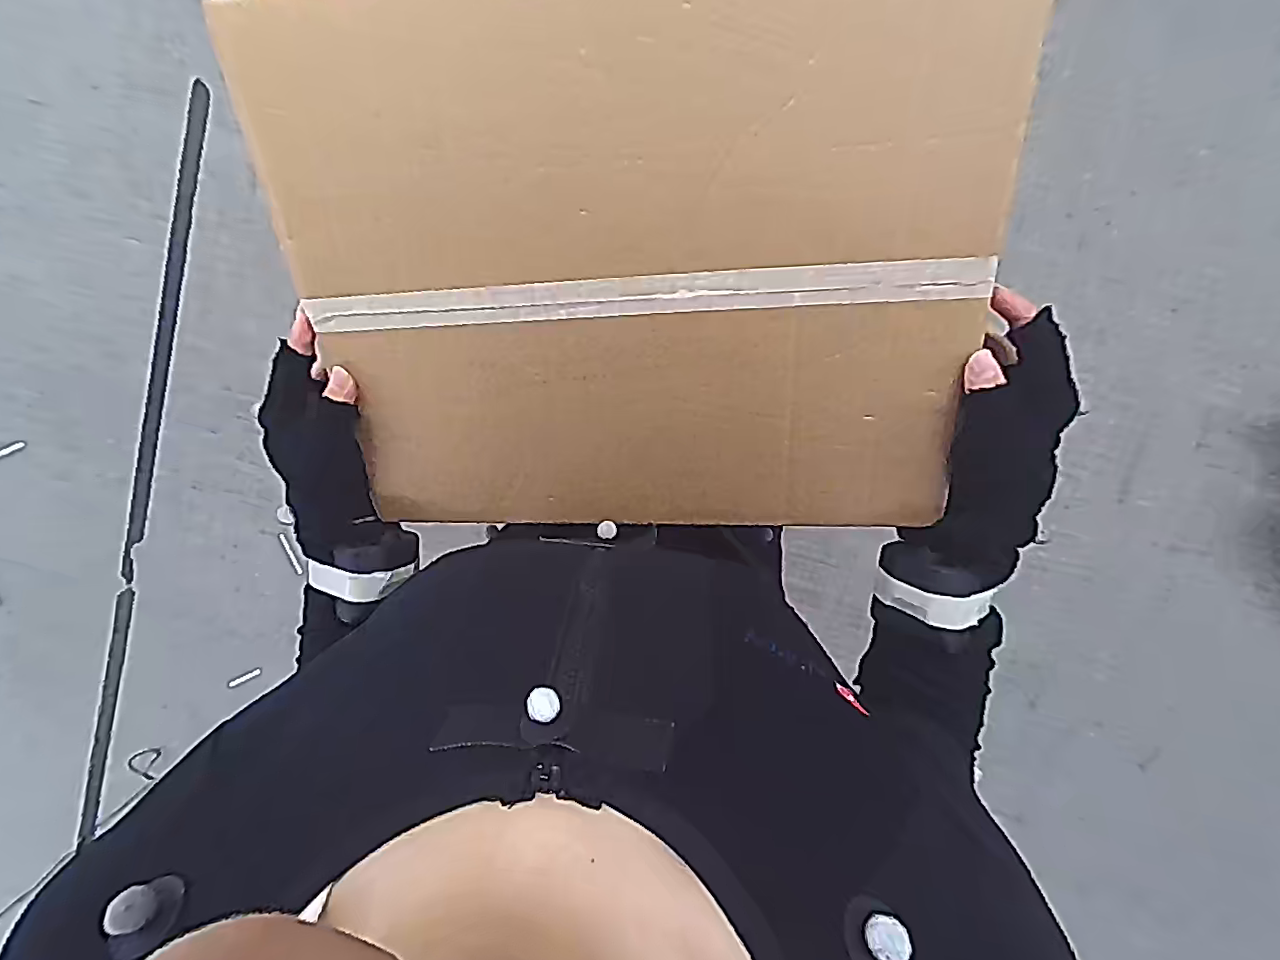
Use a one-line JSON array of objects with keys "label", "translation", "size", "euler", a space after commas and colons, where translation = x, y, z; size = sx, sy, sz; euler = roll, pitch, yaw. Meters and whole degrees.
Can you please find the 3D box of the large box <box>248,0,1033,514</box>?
[{"label": "large box", "translation": [0.010, -0.180, 0.459], "size": [0.408, 0.320, 0.320], "euler": [0, 118, 8]}]
